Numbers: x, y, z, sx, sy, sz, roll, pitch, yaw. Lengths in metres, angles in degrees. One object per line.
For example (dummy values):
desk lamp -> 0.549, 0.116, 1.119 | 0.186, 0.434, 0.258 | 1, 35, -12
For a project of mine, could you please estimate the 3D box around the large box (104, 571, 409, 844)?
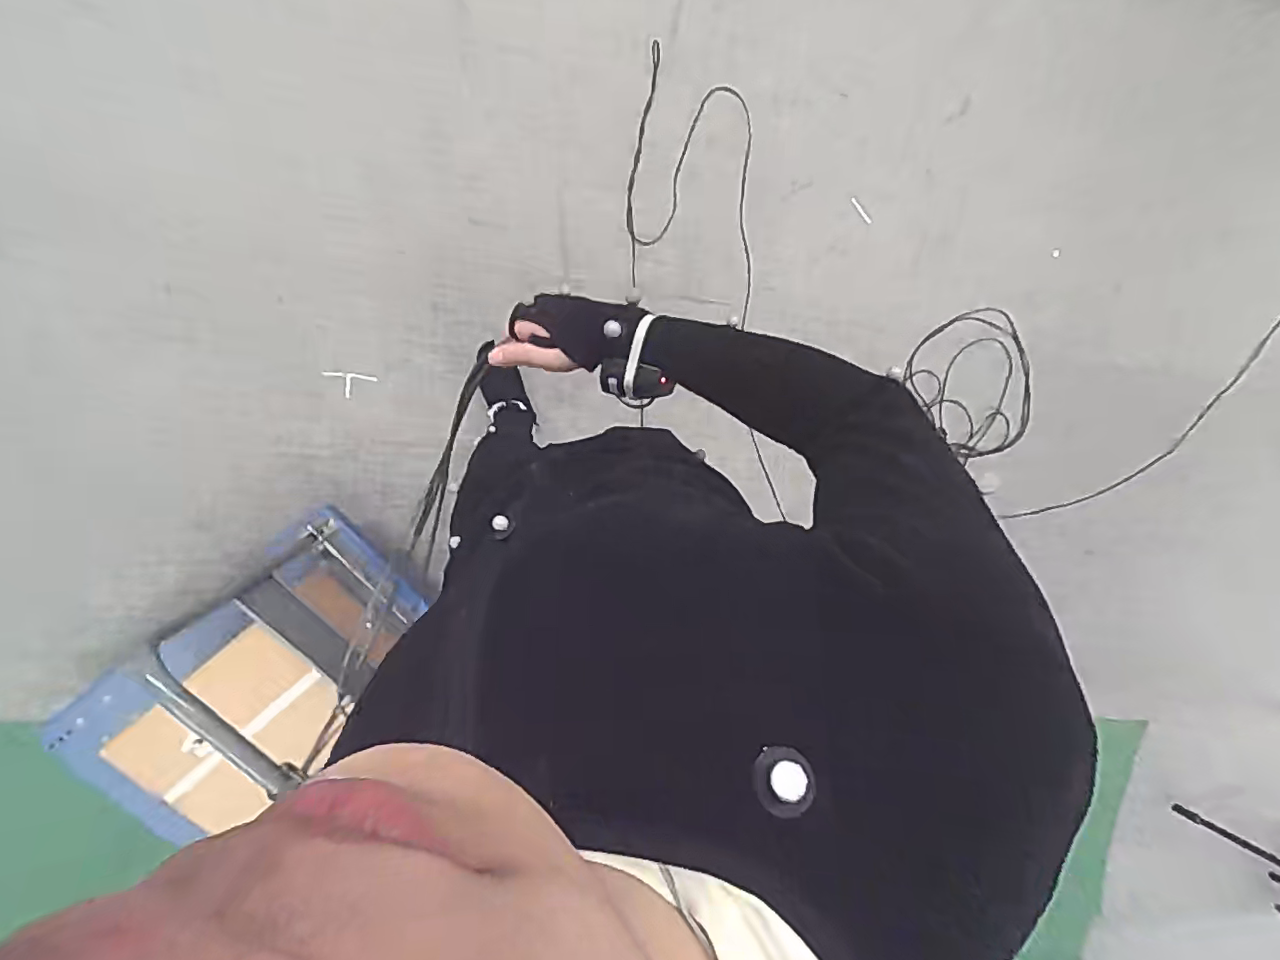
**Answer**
large box -> -0.810, 0.481, 1.217 | 0.408, 0.320, 0.320 | -40, 104, -2
